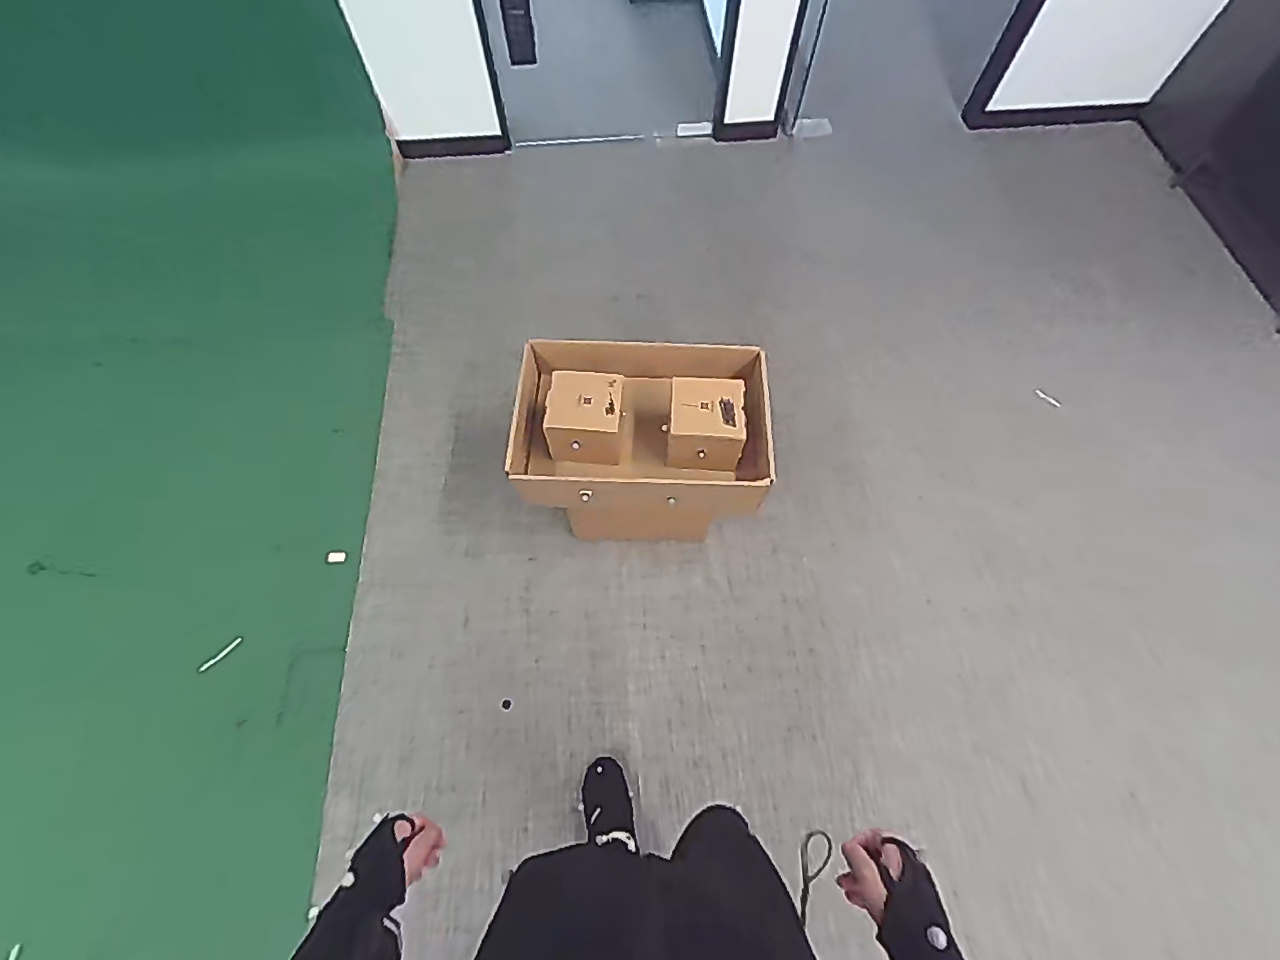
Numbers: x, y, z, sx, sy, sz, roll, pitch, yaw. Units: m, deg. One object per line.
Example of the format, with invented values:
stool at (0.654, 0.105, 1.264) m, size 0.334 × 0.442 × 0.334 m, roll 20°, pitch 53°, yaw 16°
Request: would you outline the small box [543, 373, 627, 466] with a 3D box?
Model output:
small box at (-0.129, -0.147, 1.350) m, size 0.179 × 0.176 × 0.168 m, roll 4°, pitch 64°, yaw 3°
